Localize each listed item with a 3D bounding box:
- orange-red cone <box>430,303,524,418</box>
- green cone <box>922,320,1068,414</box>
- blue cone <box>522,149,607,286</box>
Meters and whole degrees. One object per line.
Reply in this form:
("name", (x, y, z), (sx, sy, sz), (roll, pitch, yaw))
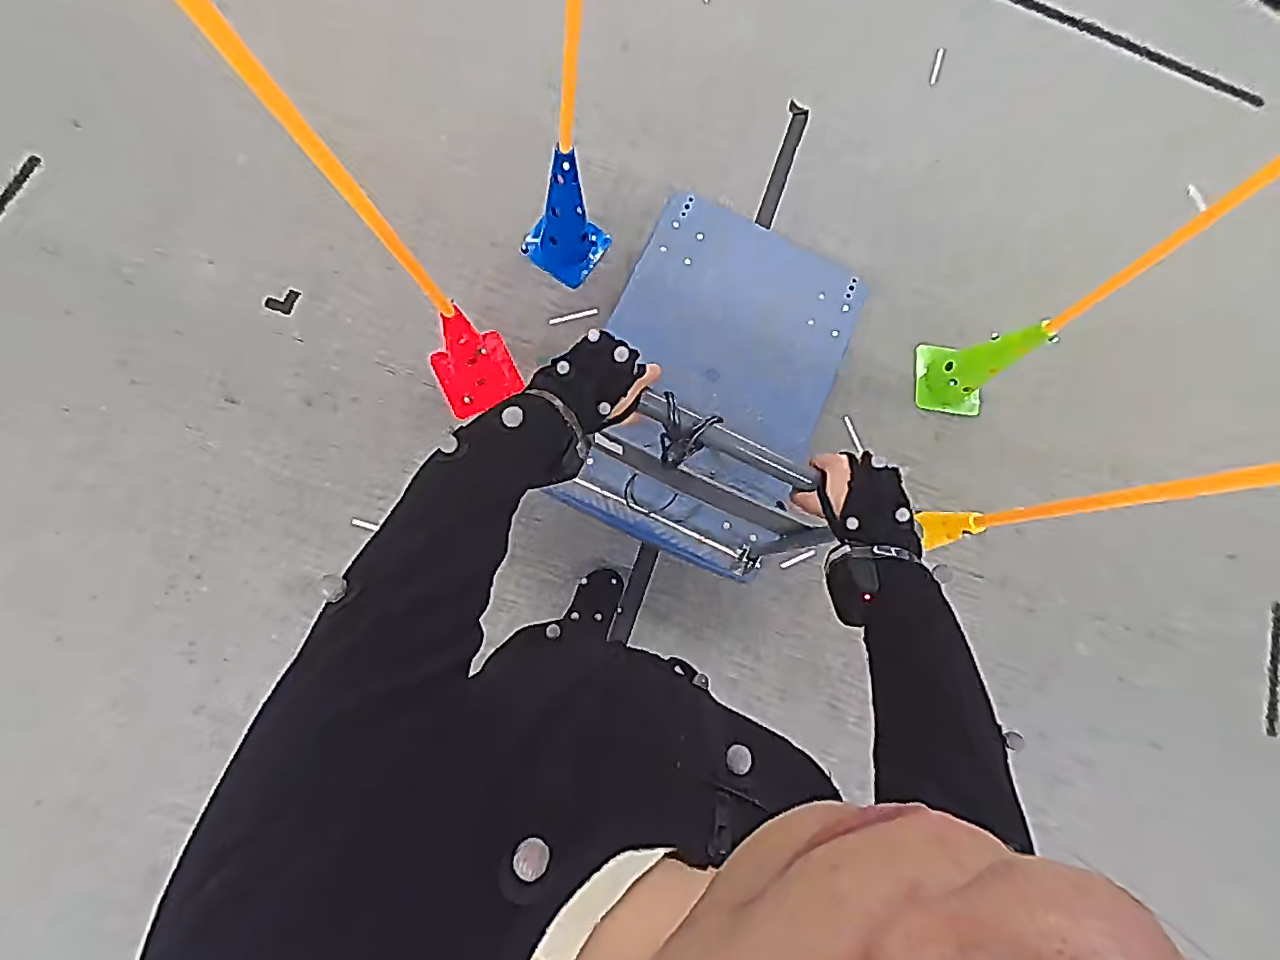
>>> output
("orange-red cone", (-0.402, -0.306, 1.243), (0.199, 0.360, 0.198), (-24, 84, -12))
("green cone", (0.936, -0.325, 1.410), (0.200, 0.368, 0.202), (6, 80, -6))
("blue cone", (-0.189, -0.680, 1.351), (0.193, 0.380, 0.192), (34, 78, 0))
